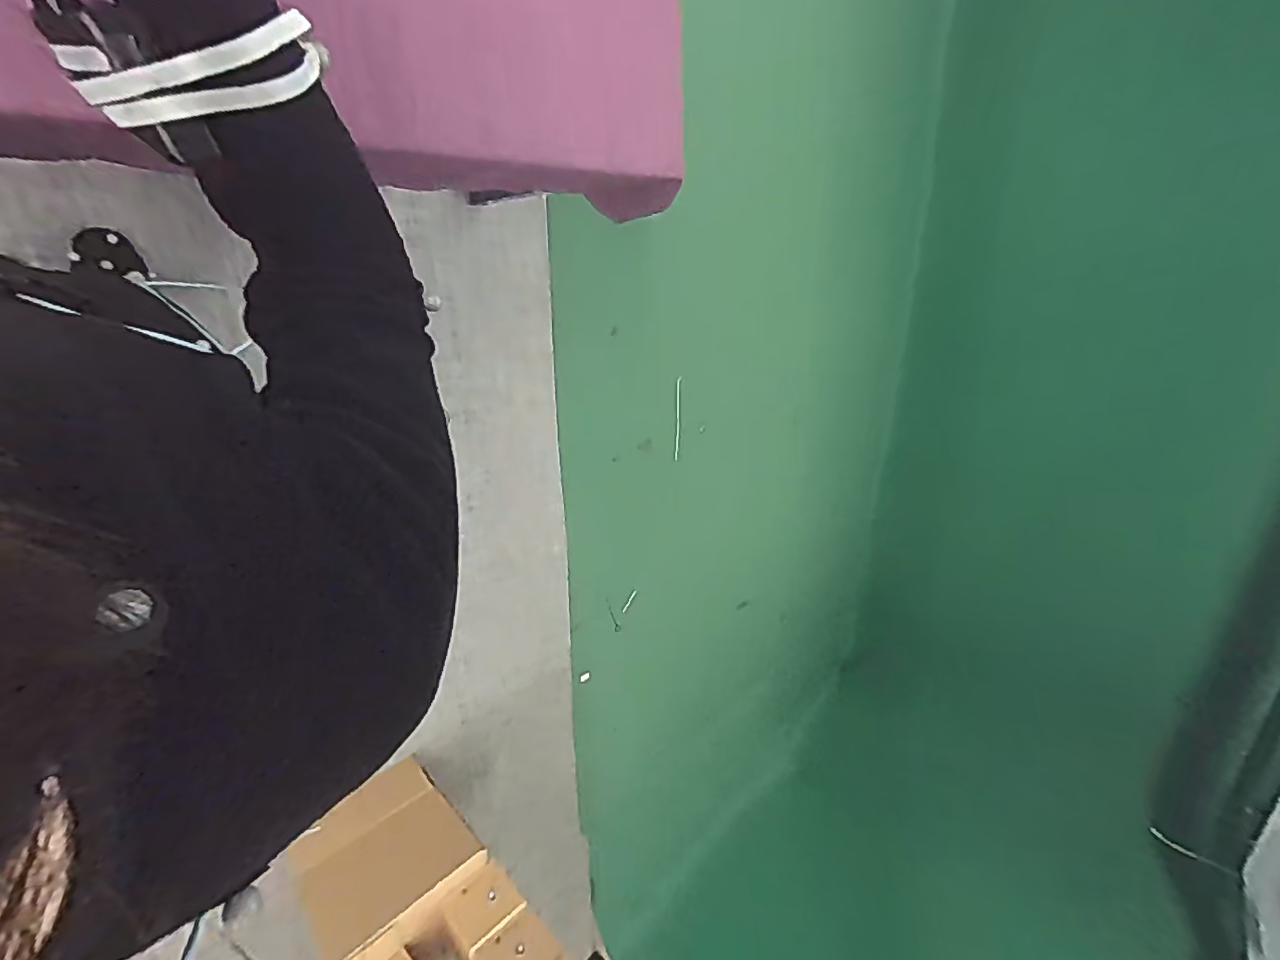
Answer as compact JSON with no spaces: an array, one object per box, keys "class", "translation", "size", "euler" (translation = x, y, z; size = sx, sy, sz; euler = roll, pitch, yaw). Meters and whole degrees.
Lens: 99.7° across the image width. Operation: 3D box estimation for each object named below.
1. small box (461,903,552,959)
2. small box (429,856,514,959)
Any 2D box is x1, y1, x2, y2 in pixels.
[{"class":"small box","translation":[-0.342,1.239,1.379],"size":[0.168,0.176,0.179],"euler":[-16,117,-43]},{"class":"small box","translation":[-0.460,1.183,1.480],"size":[0.168,0.176,0.179],"euler":[-18,118,-43]}]
